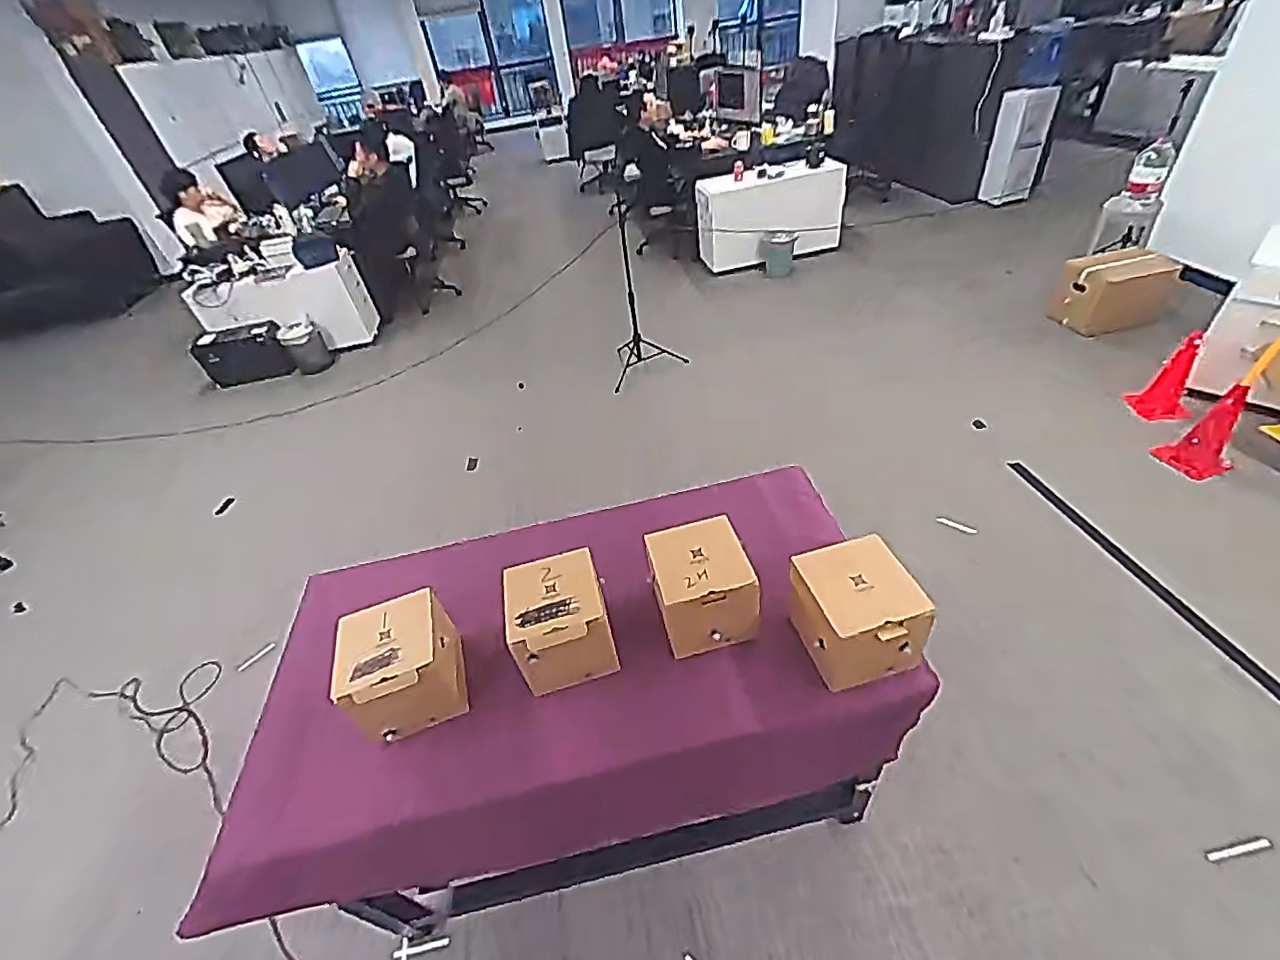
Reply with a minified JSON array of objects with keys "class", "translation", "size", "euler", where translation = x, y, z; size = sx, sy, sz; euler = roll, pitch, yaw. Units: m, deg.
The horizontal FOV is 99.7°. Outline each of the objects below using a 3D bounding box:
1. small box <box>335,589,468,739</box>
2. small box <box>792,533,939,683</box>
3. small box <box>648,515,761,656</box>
[{"class":"small box","translation":[-0.421,0.336,0.974],"size":[0.168,0.176,0.179],"euler":[-19,41,-10]},{"class":"small box","translation":[0.375,0.227,0.933],"size":[0.168,0.176,0.179],"euler":[-14,40,-5]},{"class":"small box","translation":[0.118,0.198,1.019],"size":[0.168,0.176,0.179],"euler":[-14,41,-4]}]
